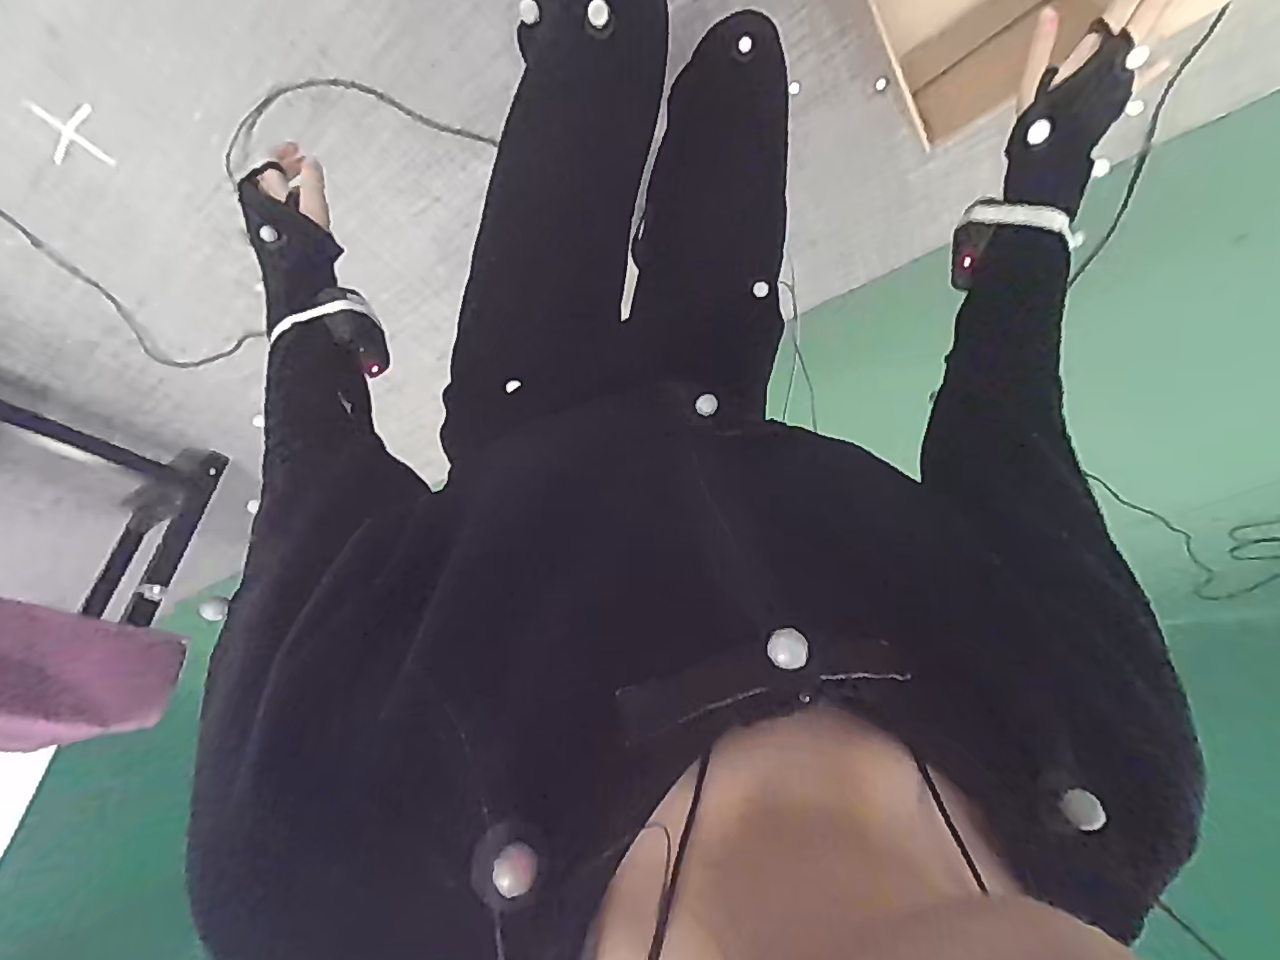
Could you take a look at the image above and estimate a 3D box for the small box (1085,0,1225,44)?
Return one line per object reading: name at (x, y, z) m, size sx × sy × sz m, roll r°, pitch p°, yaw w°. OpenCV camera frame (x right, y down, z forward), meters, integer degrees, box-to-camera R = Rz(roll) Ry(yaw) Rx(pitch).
small box at (0.458, -0.509, 0.419) m, size 0.179 × 0.176 × 0.168 m, roll -22°, pitch 140°, yaw 30°
